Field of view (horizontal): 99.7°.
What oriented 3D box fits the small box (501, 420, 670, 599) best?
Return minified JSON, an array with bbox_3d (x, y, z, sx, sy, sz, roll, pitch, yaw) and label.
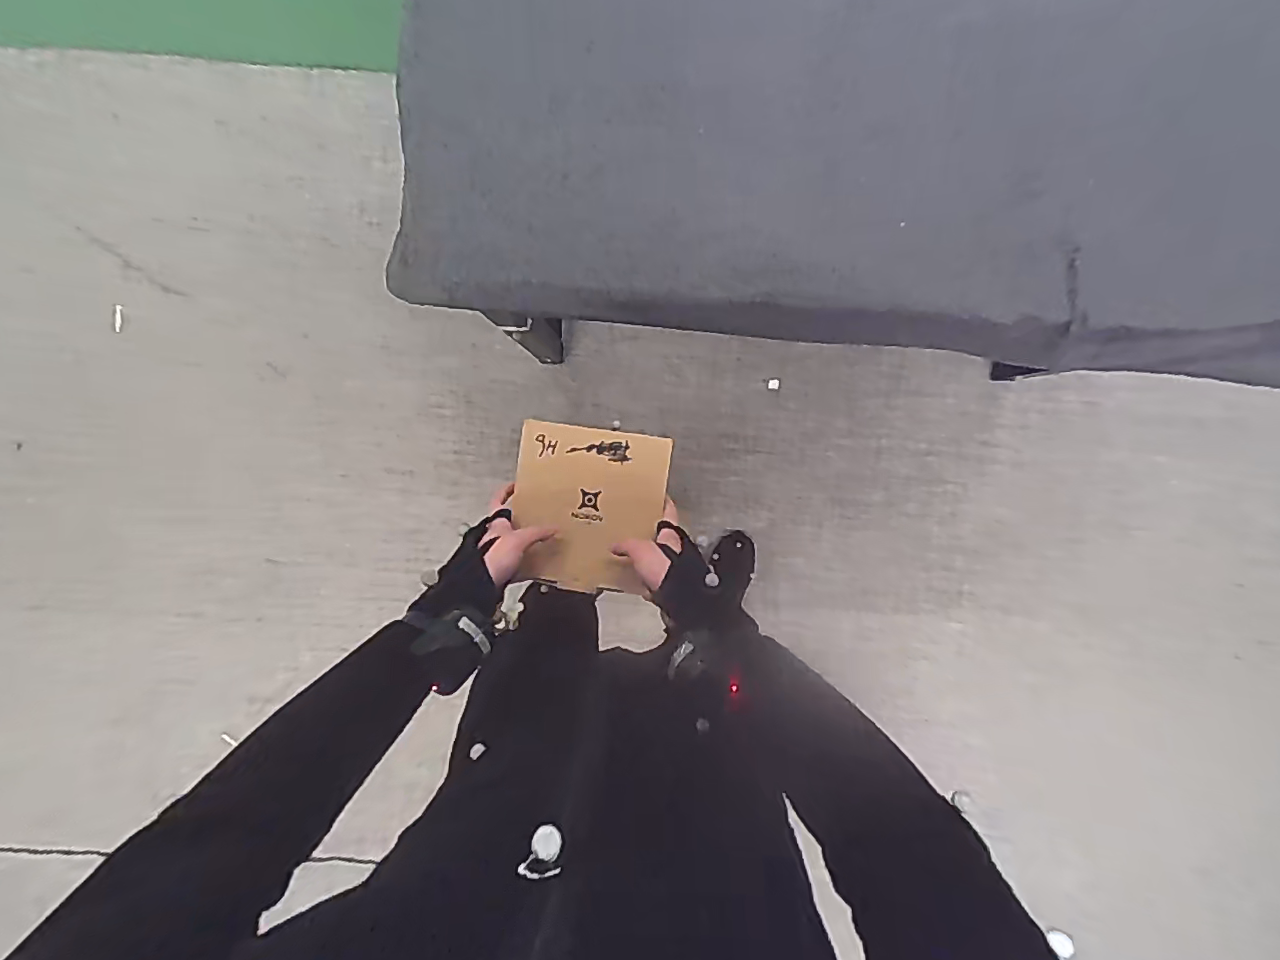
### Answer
[{"bbox_3d":[-0.058,0.029,0.658,0.168,0.176,0.179,7,92,0],"label":"small box"}]
